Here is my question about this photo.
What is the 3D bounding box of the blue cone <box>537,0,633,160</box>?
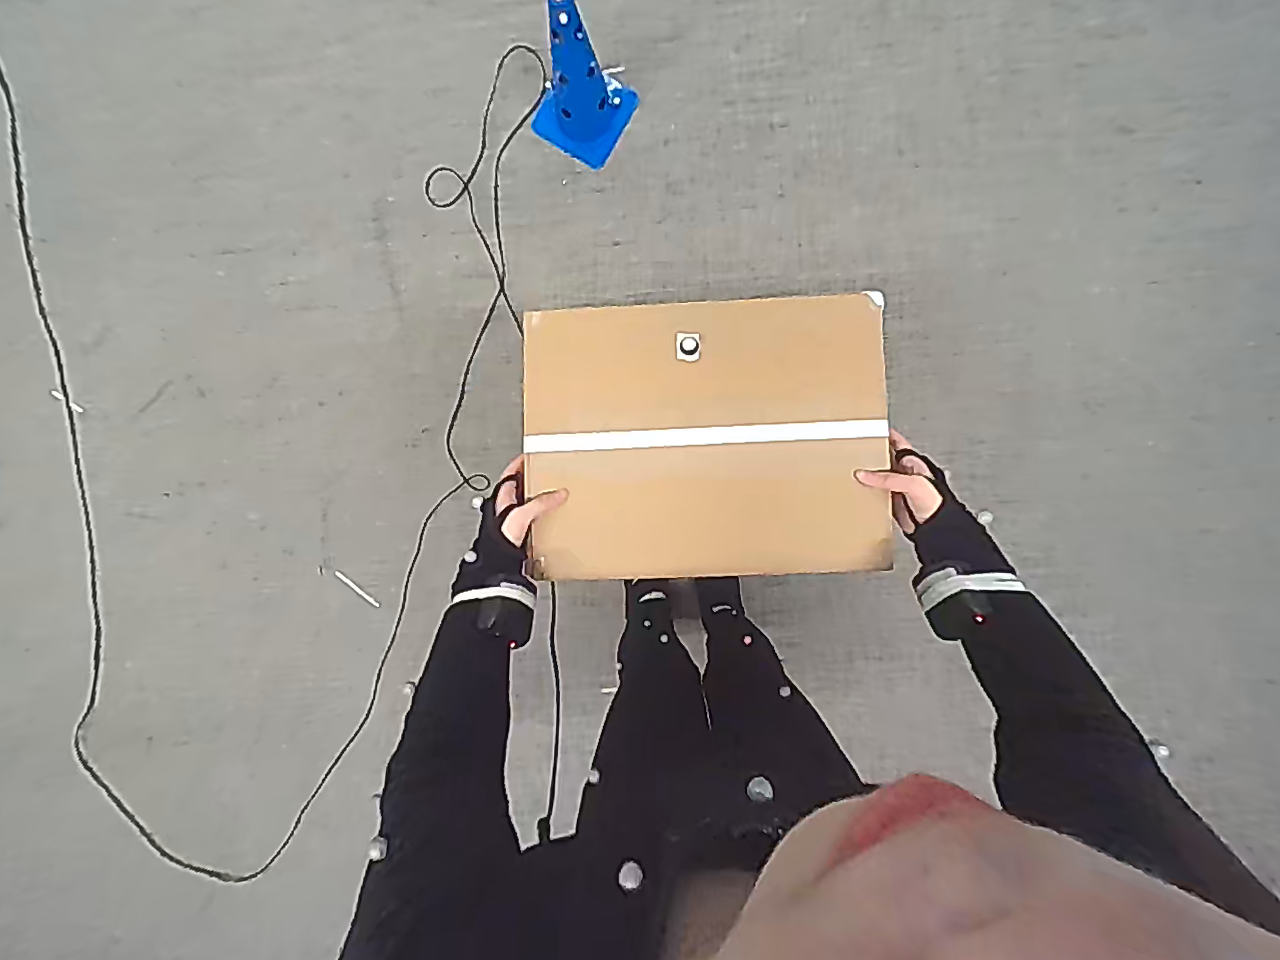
[{"bbox_3d":[-0.132,-0.858,1.100,0.192,0.380,0.193,29,94,-2],"label":"blue cone"}]
